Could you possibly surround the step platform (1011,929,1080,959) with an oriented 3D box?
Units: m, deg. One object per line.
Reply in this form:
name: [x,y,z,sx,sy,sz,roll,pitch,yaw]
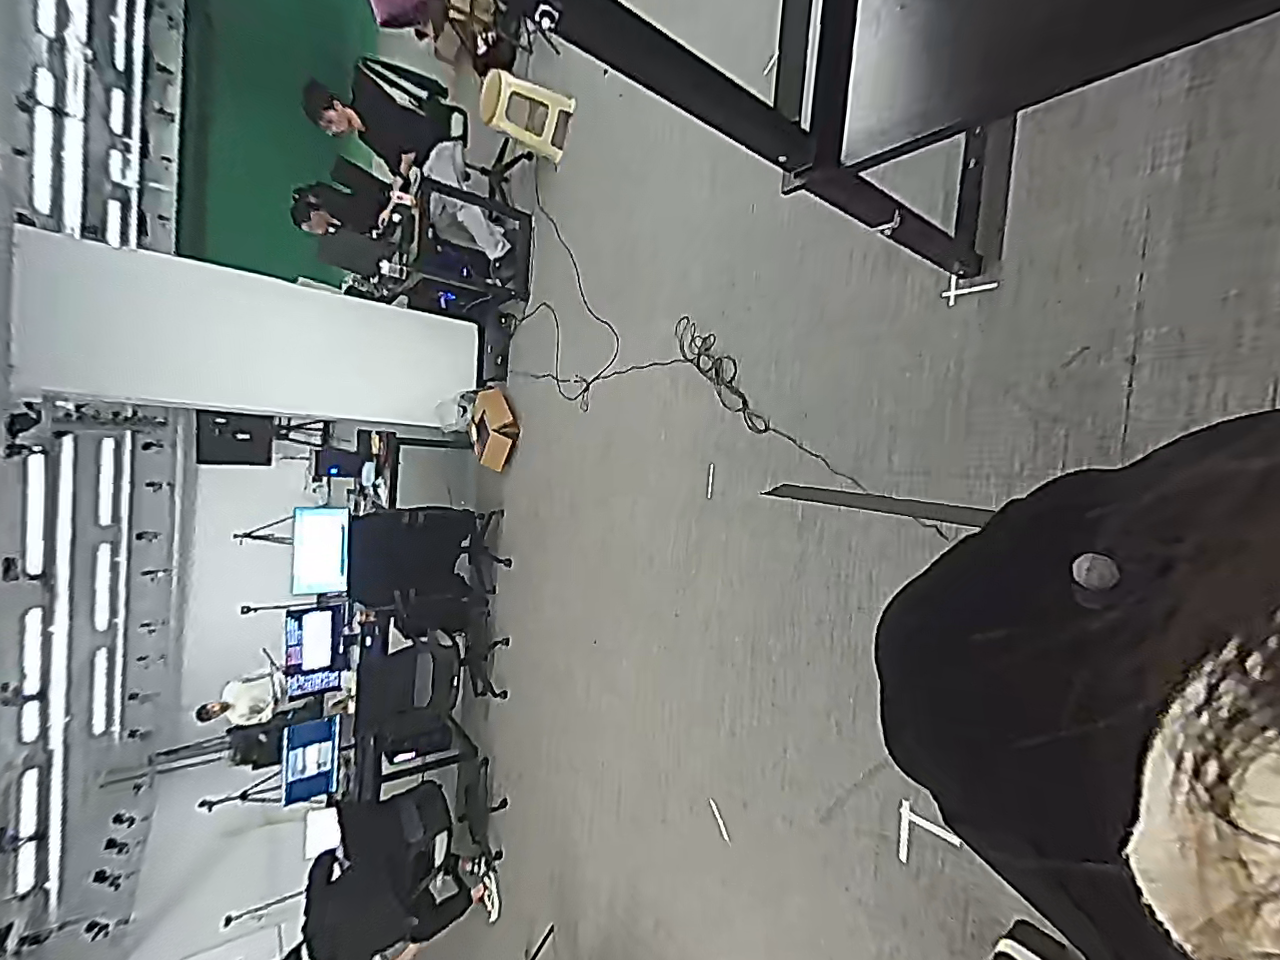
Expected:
step platform: [1.024,1.230,0.969,0.684,0.204,0.286,18,102,51]
